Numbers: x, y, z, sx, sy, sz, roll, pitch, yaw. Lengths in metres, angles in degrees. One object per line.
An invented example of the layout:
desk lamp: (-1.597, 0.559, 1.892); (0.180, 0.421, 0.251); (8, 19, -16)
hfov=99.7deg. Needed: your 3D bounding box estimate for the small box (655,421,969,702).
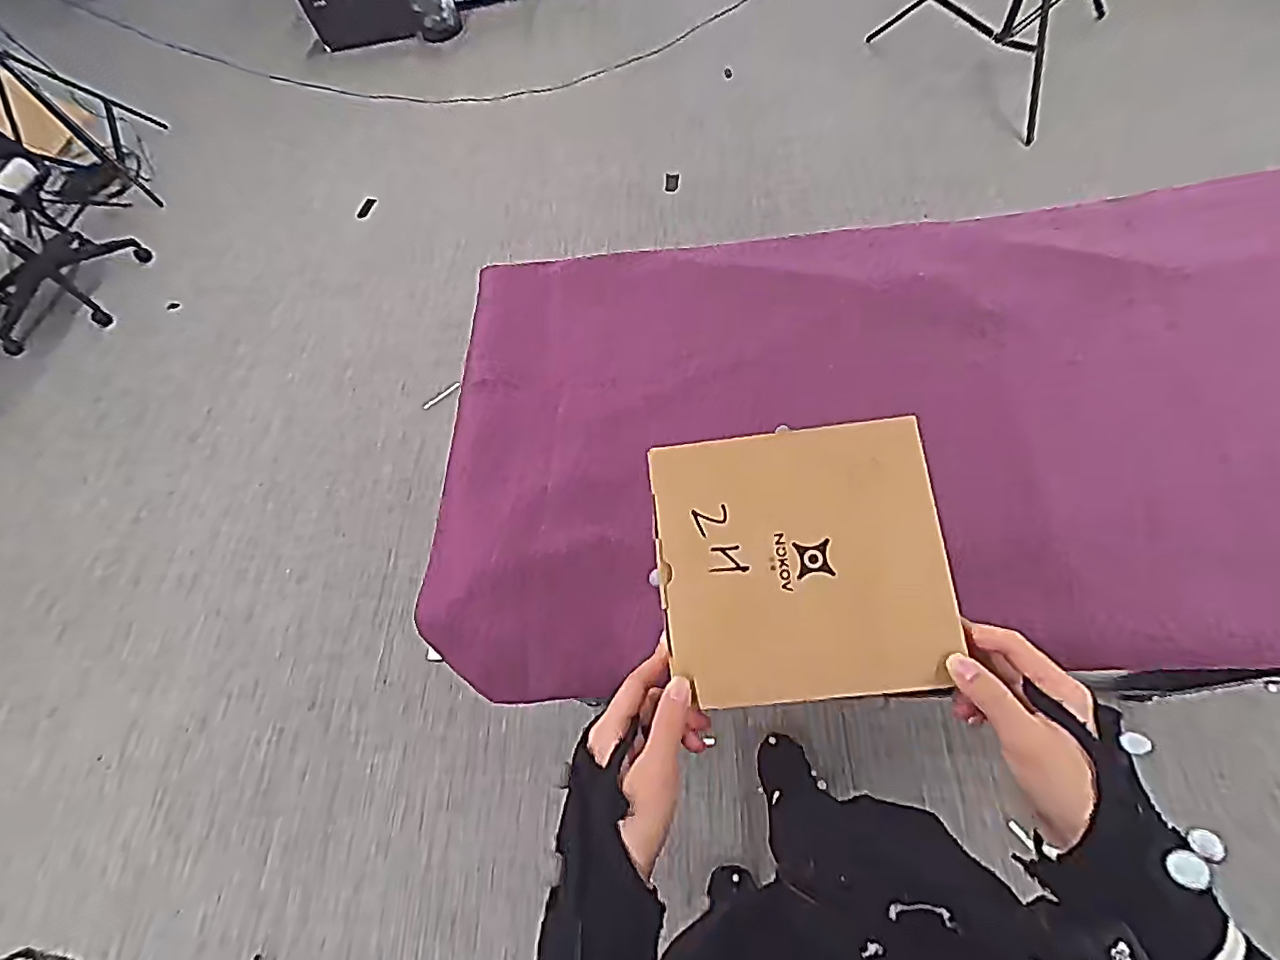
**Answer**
small box: (0.109, 0.065, 0.417); (0.179, 0.176, 0.168); (-7, 77, 5)
